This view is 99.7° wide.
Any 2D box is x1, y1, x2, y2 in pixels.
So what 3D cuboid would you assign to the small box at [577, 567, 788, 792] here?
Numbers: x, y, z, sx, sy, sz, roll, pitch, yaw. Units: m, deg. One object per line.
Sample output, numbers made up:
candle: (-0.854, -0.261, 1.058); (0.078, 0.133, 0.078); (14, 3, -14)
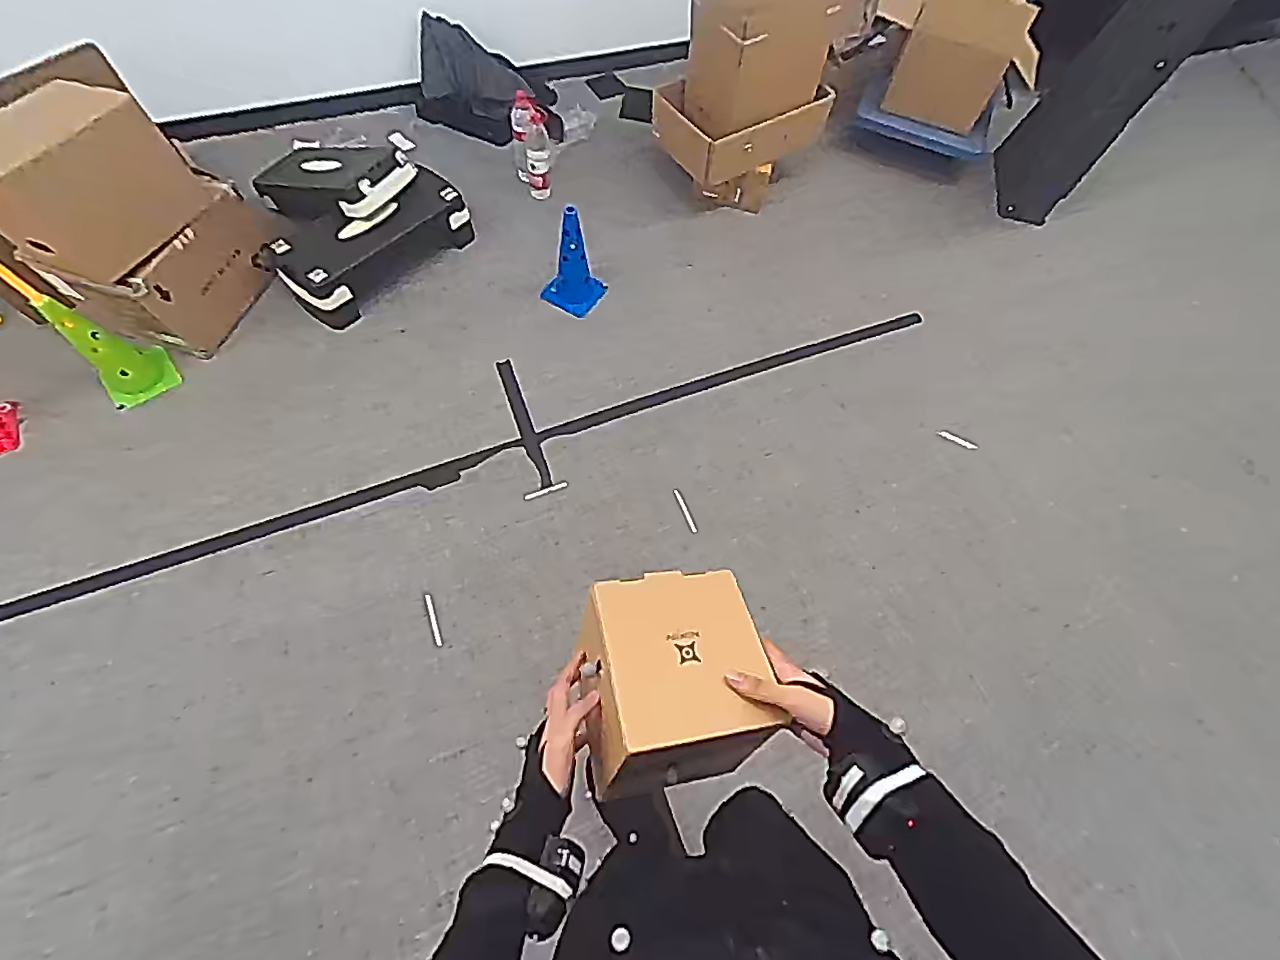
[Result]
small box: (0.030, 0.220, 0.593); (0.168, 0.176, 0.179); (-3, 47, -18)
